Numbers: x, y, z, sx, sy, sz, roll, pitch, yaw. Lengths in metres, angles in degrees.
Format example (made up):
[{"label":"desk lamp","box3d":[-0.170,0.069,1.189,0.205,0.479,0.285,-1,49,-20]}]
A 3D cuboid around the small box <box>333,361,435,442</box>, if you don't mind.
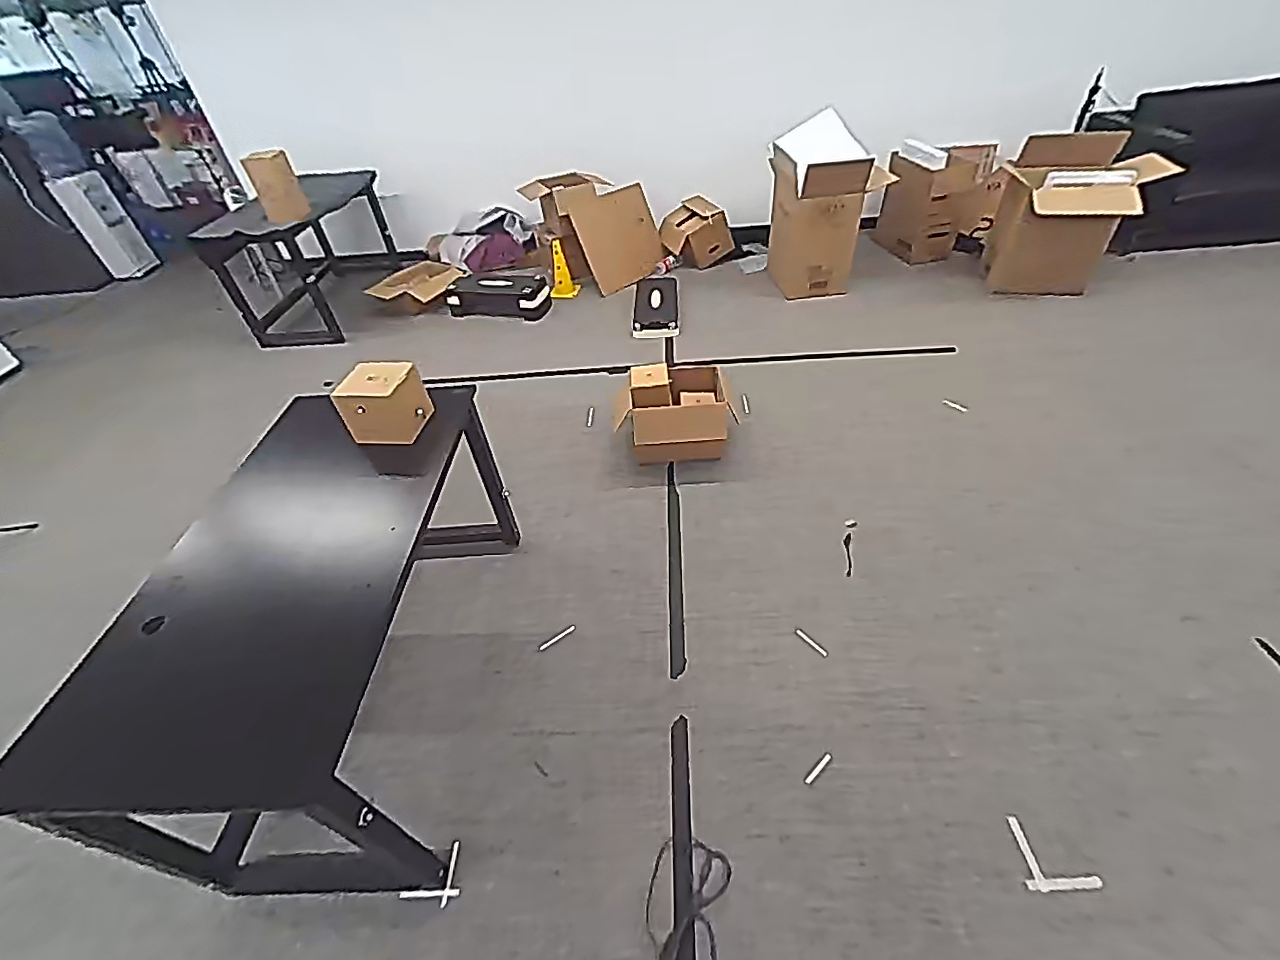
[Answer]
[{"label":"small box","box3d":[-0.719,-0.222,1.541,0.179,0.176,0.168,2,45,9]}]
